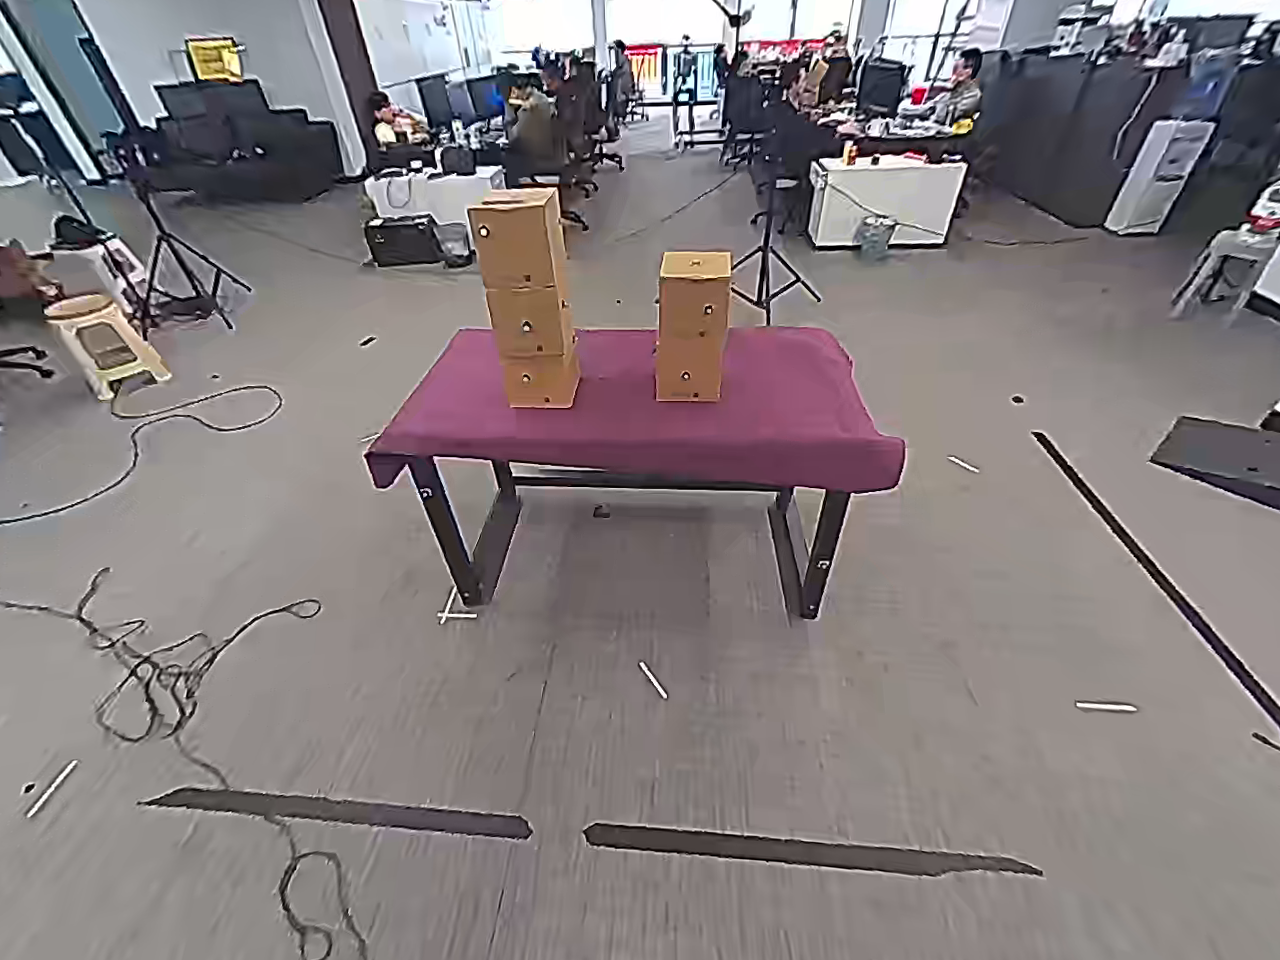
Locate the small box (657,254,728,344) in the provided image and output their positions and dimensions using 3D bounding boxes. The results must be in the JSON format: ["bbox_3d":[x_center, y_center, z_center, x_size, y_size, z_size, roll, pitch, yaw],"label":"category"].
[{"bbox_3d":[0.132,-0.449,1.346,0.168,0.176,0.179,3,40,5],"label":"small box"}]

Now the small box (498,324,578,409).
[{"bbox_3d":[-0.264,-0.302,1.450,0.168,0.176,0.179,0,40,4],"label":"small box"}]

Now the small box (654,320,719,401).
[{"bbox_3d":[0.126,-0.323,1.449,0.168,0.176,0.179,1,40,4],"label":"small box"}]

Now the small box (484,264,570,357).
[{"bbox_3d":[-0.268,-0.413,1.328,0.168,0.176,0.179,-2,41,0],"label":"small box"}]
